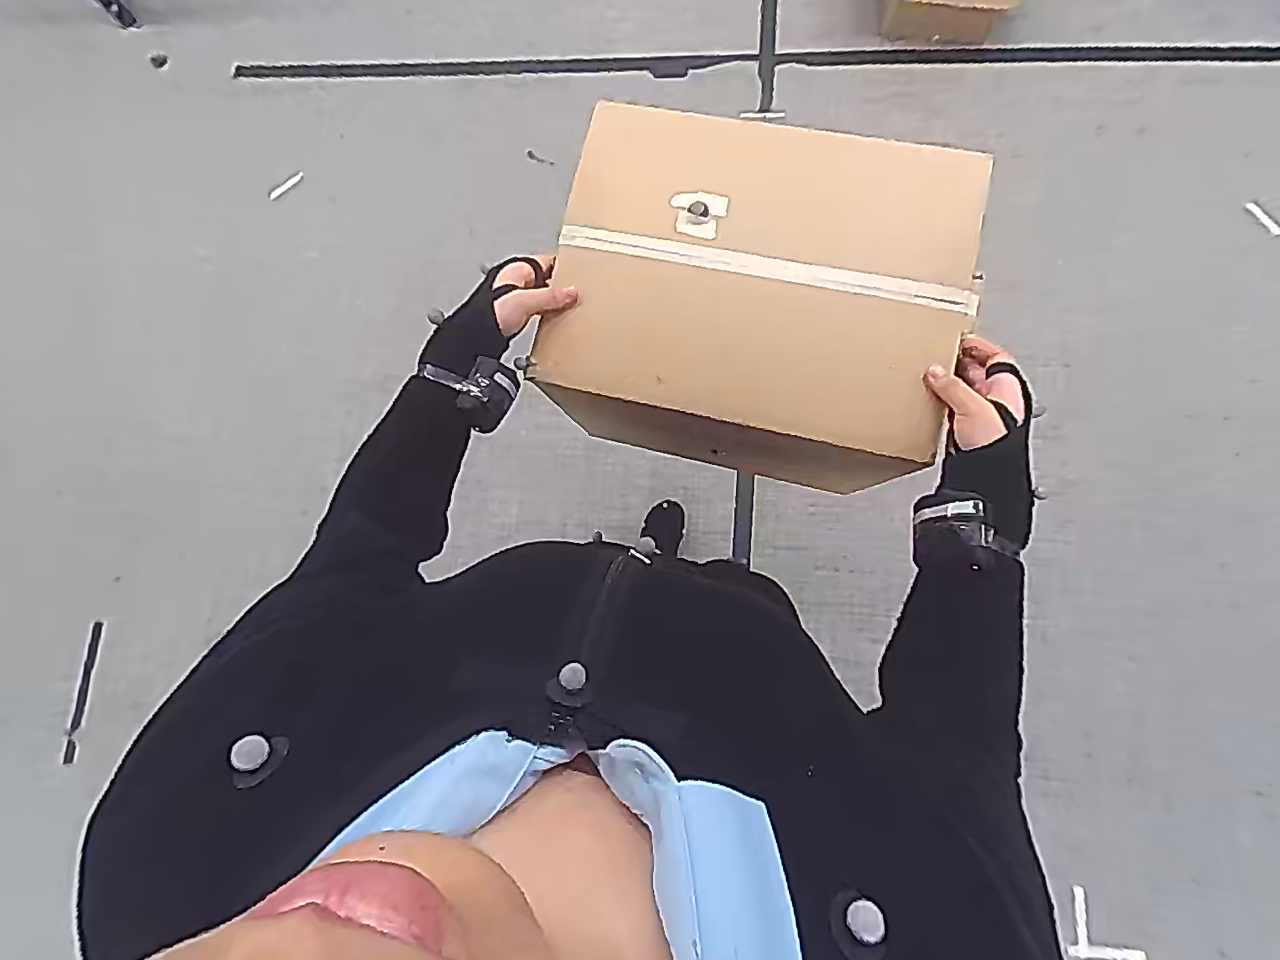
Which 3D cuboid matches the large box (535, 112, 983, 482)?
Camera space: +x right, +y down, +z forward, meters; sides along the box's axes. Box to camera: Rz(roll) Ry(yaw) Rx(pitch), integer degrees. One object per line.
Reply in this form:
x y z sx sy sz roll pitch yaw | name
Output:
0.135 -0.197 0.693 0.408 0.320 0.320 13 84 9 | large box
